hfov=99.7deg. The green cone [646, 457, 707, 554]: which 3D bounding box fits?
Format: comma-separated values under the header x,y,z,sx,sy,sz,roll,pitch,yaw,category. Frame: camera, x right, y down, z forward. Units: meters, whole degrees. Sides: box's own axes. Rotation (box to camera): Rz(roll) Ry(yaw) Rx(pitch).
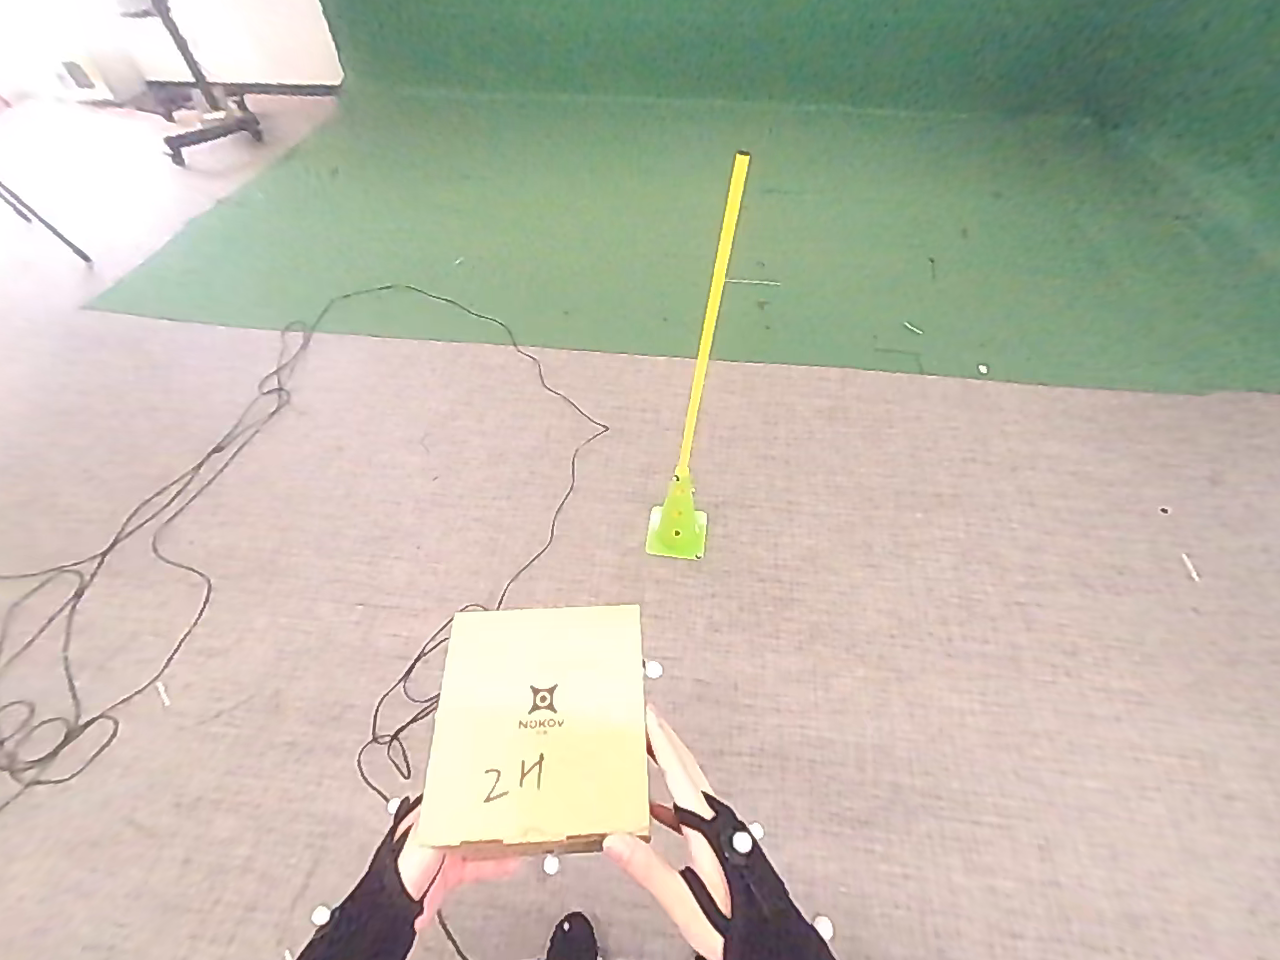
x,y,z,sx,sy,sz,roll,pitch,yaw,category
0.123,0.056,1.737,0.202,0.368,0.200,5,52,6,green cone
